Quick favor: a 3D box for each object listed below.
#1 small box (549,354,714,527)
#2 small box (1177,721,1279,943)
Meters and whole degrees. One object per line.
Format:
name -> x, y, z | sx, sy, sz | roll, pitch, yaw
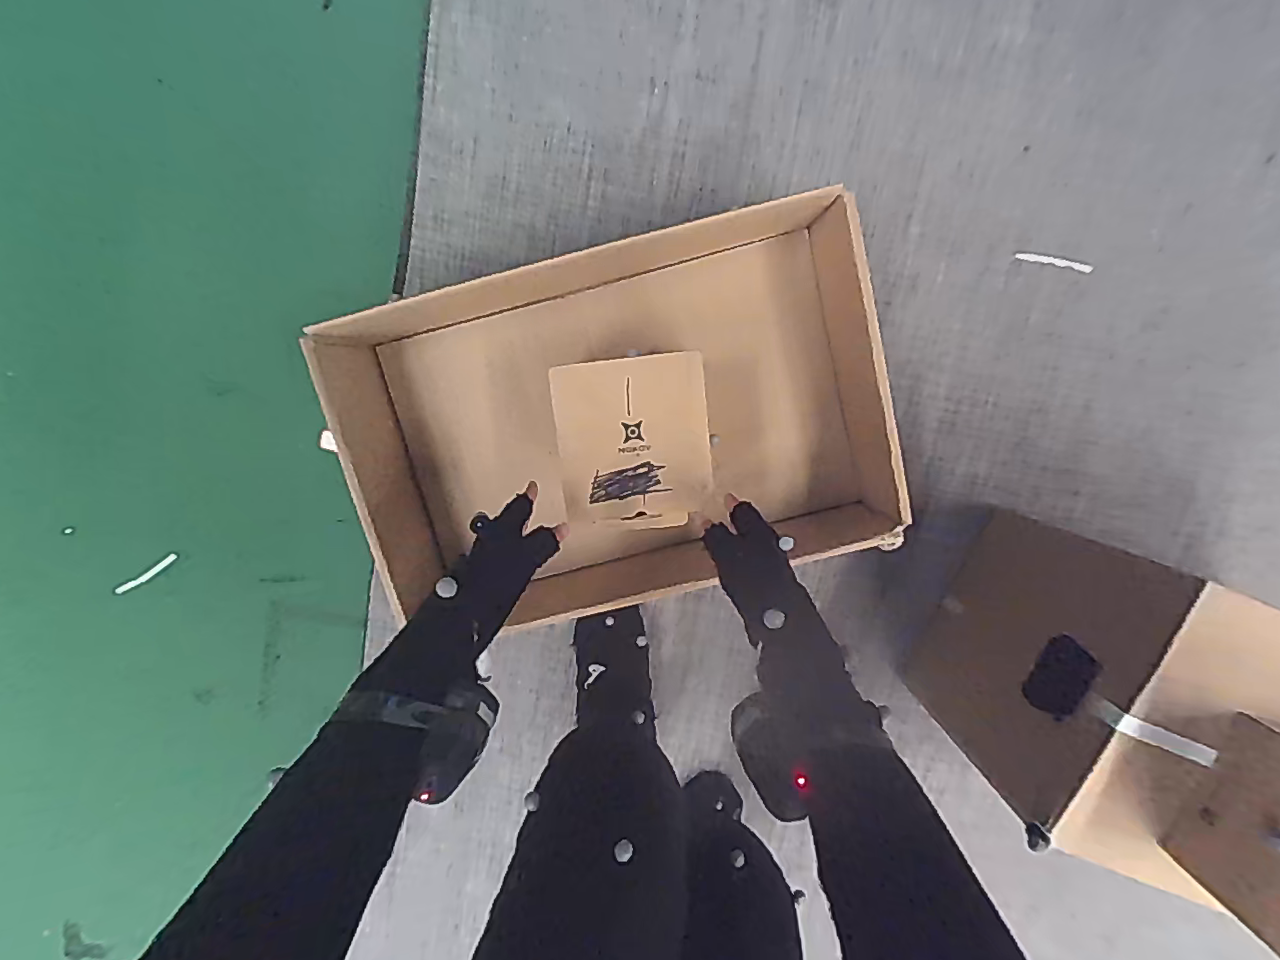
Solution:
small box -> -0.004, -0.053, 0.659 | 0.168, 0.176, 0.179 | -6, 99, 3
small box -> 0.633, 0.335, 0.455 | 0.179, 0.176, 0.168 | 17, 101, -2
